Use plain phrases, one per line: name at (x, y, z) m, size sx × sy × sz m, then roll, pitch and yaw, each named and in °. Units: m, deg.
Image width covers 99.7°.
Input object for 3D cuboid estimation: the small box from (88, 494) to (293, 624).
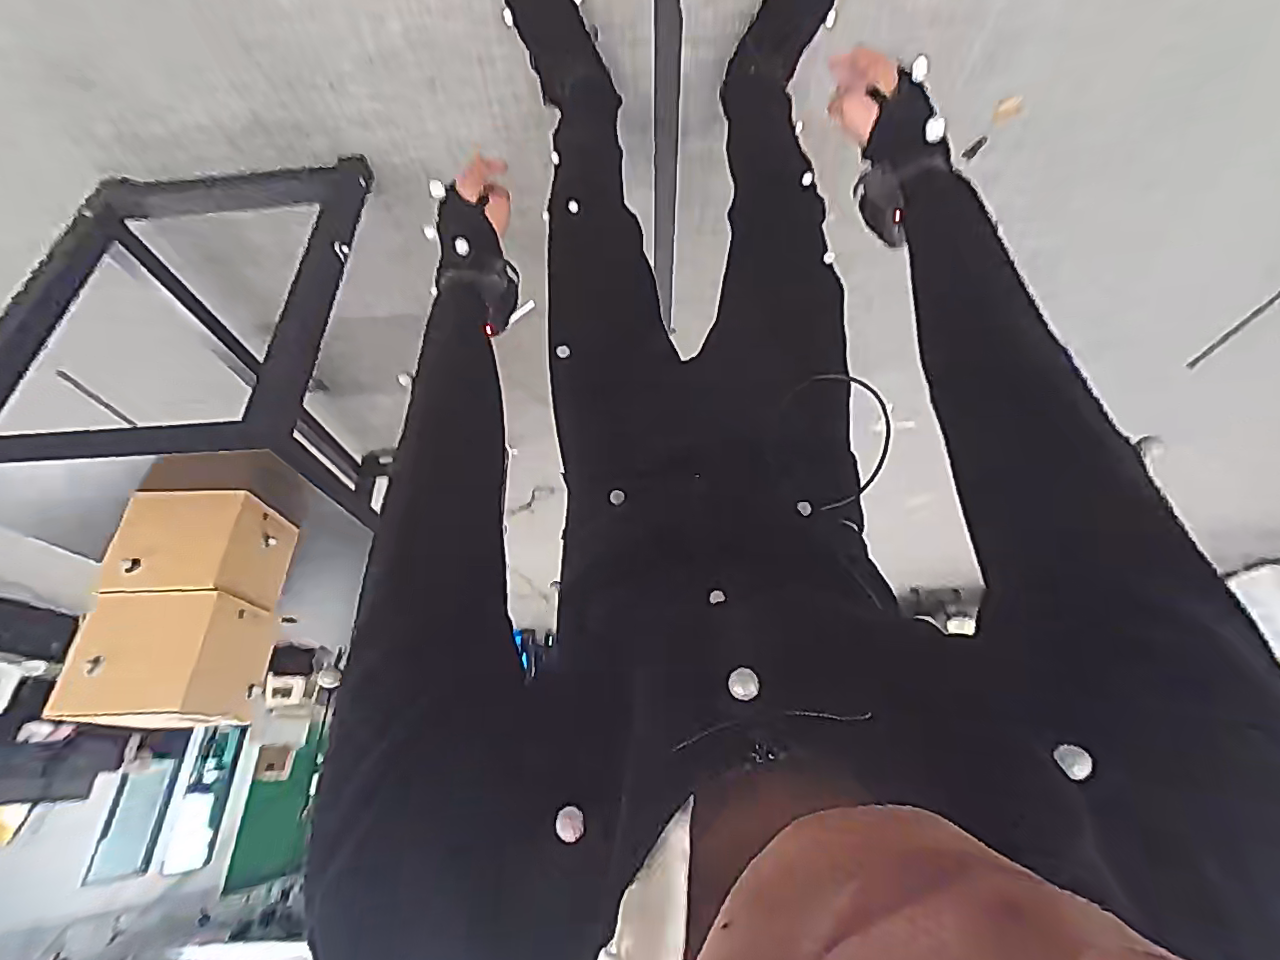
small box at (-0.713, 0.130, 0.885) m, size 0.179 × 0.176 × 0.168 m, roll -1°, pitch 152°, yaw -3°
